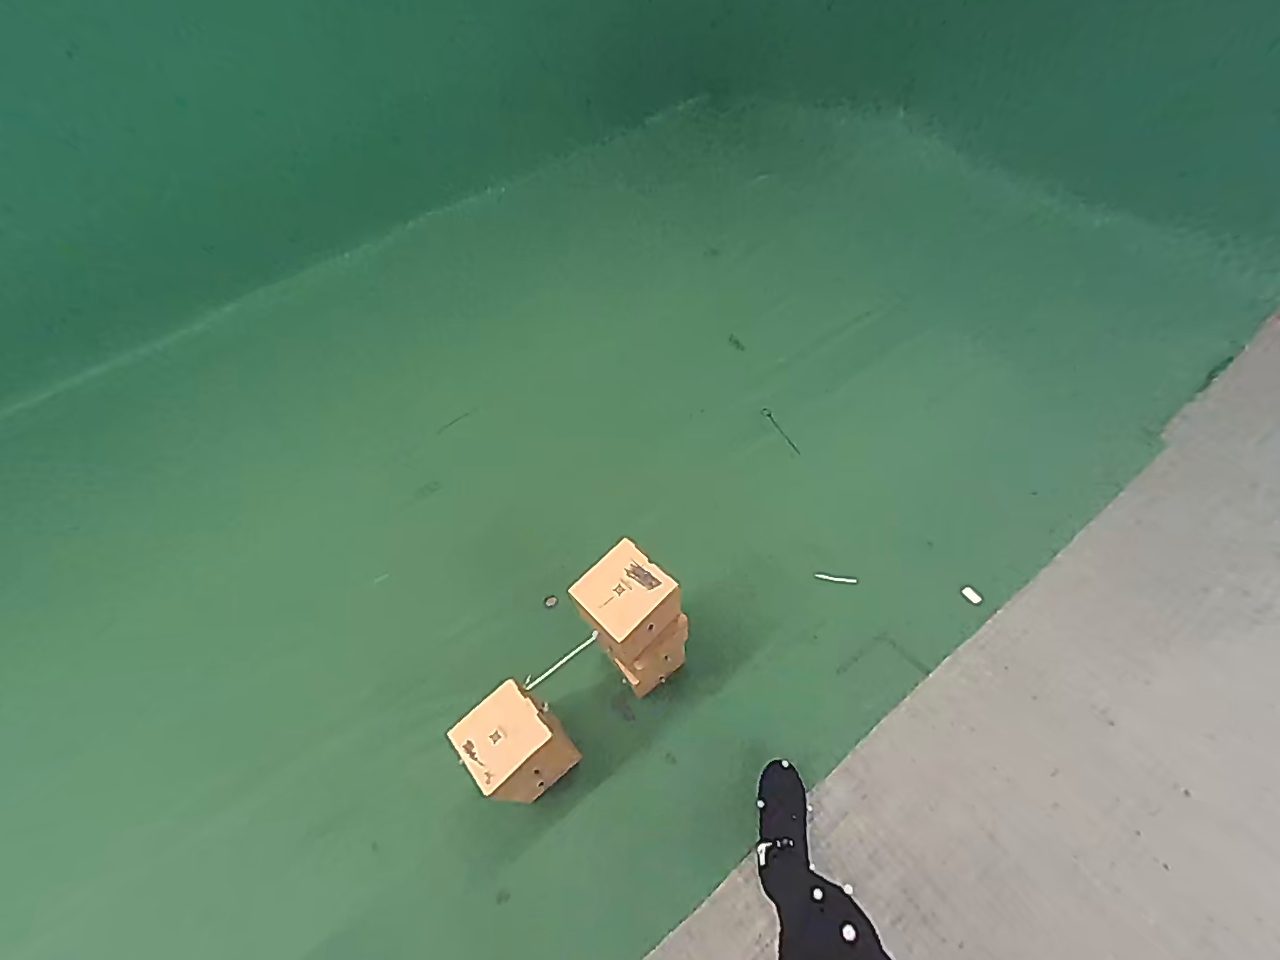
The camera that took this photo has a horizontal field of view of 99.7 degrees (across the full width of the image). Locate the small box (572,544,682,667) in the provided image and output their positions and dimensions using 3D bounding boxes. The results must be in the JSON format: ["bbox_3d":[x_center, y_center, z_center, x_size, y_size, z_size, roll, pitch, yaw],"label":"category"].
[{"bbox_3d":[-0.023,0.282,1.202,0.179,0.176,0.168,-41,61,-18],"label":"small box"}]

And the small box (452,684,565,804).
[{"bbox_3d":[-0.287,0.601,1.227,0.179,0.176,0.168,-38,60,-17],"label":"small box"}]

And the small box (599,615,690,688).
[{"bbox_3d":[0.007,0.382,1.332,0.179,0.176,0.168,37,69,26],"label":"small box"}]

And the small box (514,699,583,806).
[{"bbox_3d":[-0.264,0.689,1.363,0.168,0.176,0.179,-36,59,-15],"label":"small box"}]
